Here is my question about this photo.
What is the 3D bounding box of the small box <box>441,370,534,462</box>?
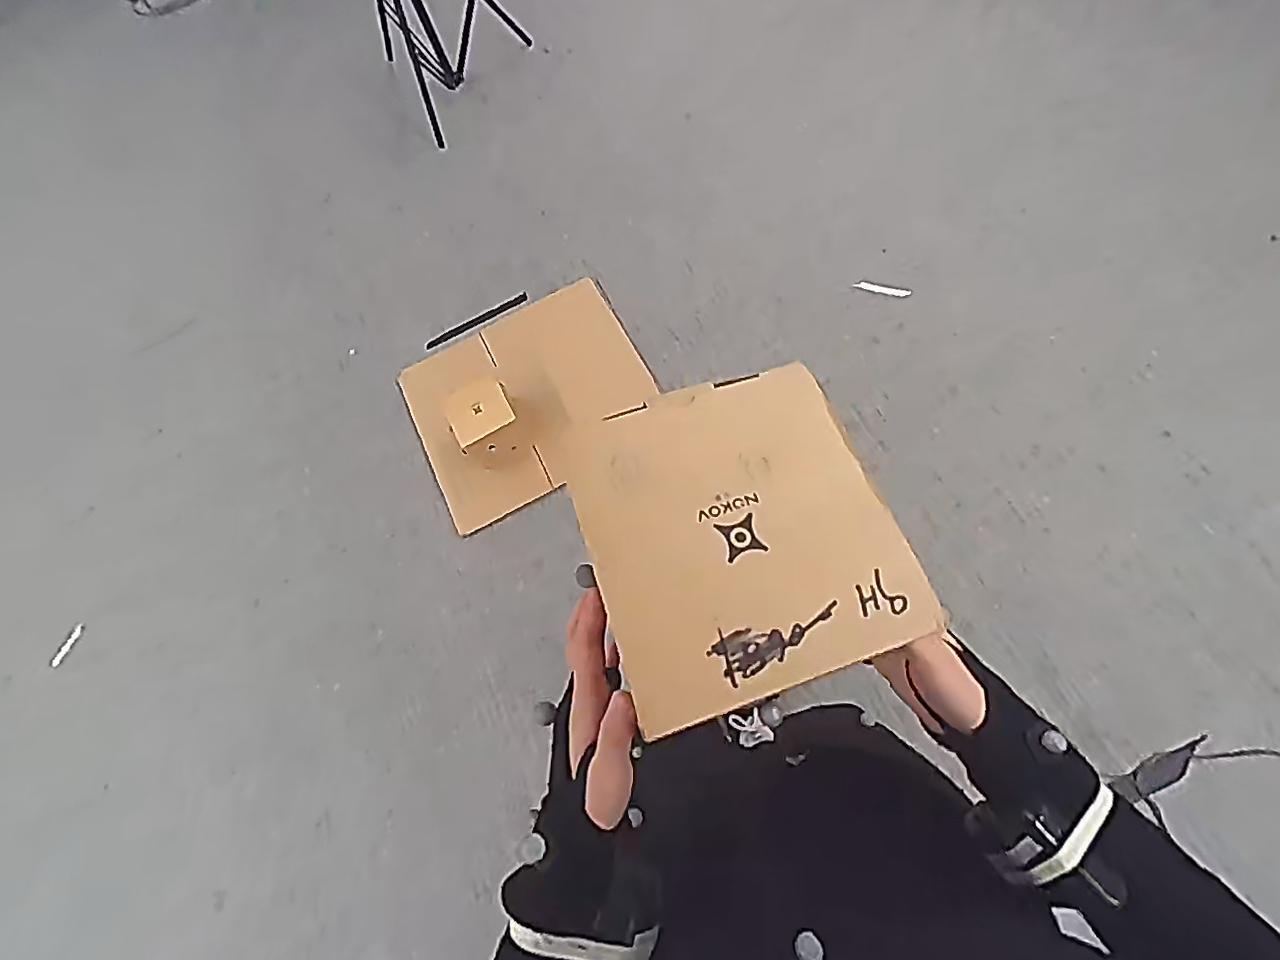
[{"bbox_3d":[-0.422,-0.169,1.522,0.168,0.176,0.179,-30,70,-3],"label":"small box"}]

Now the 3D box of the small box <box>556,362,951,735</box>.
[{"bbox_3d":[0.054,0.056,0.365,0.168,0.176,0.179,-18,67,-6],"label":"small box"}]
